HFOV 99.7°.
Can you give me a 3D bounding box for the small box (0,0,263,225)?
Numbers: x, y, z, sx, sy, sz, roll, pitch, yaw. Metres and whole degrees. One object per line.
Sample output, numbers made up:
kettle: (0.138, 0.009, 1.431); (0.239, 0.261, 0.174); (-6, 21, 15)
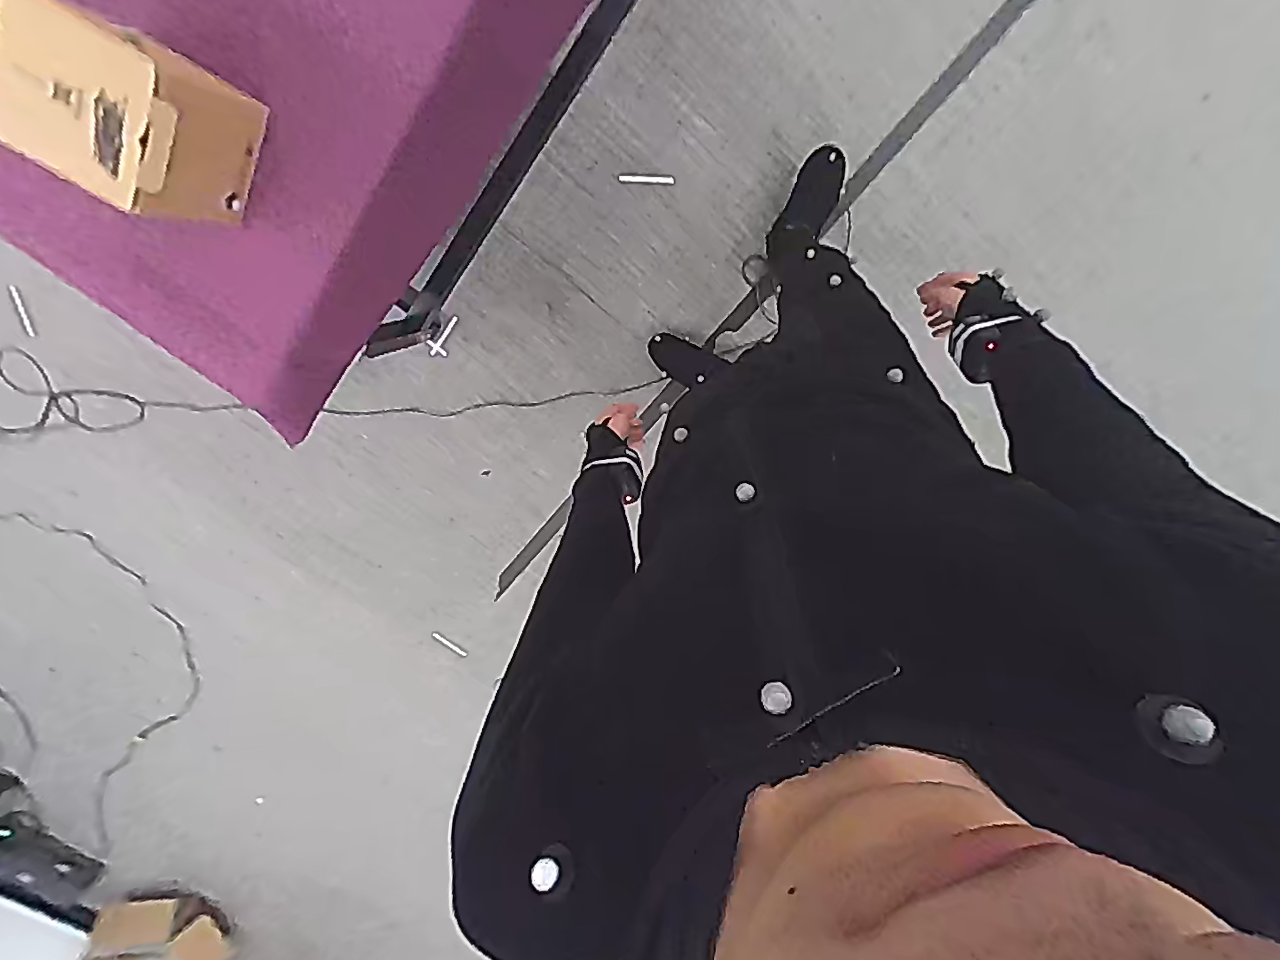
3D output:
small box: (-0.616, -0.435, 0.666); (0.179, 0.176, 0.168); (29, 110, -7)
